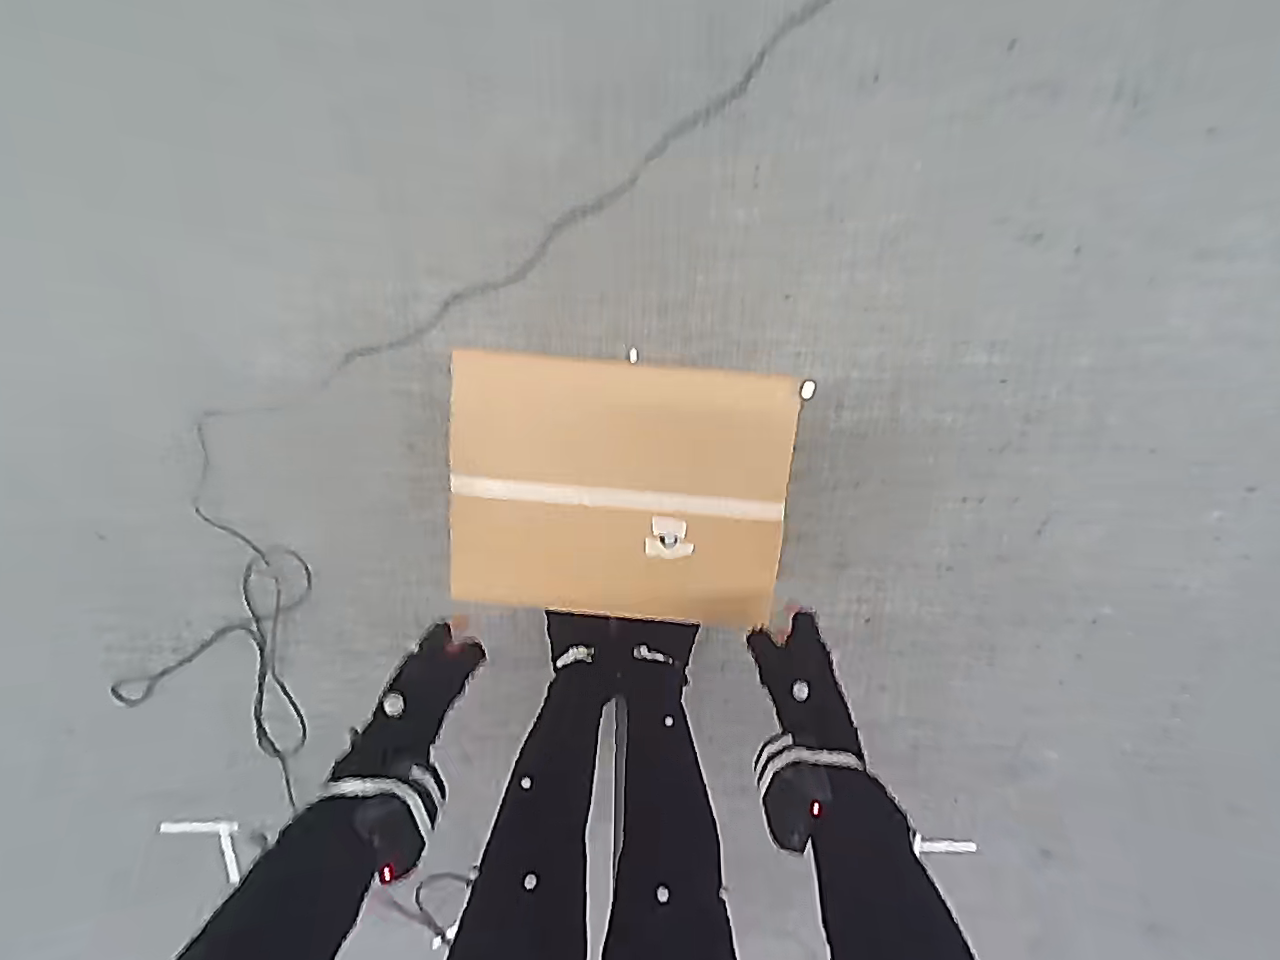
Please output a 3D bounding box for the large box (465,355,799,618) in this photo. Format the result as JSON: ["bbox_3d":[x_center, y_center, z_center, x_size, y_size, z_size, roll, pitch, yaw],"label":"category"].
[{"bbox_3d":[-0.017,-0.011,0.813,0.408,0.320,0.320,5,102,0],"label":"large box"}]
